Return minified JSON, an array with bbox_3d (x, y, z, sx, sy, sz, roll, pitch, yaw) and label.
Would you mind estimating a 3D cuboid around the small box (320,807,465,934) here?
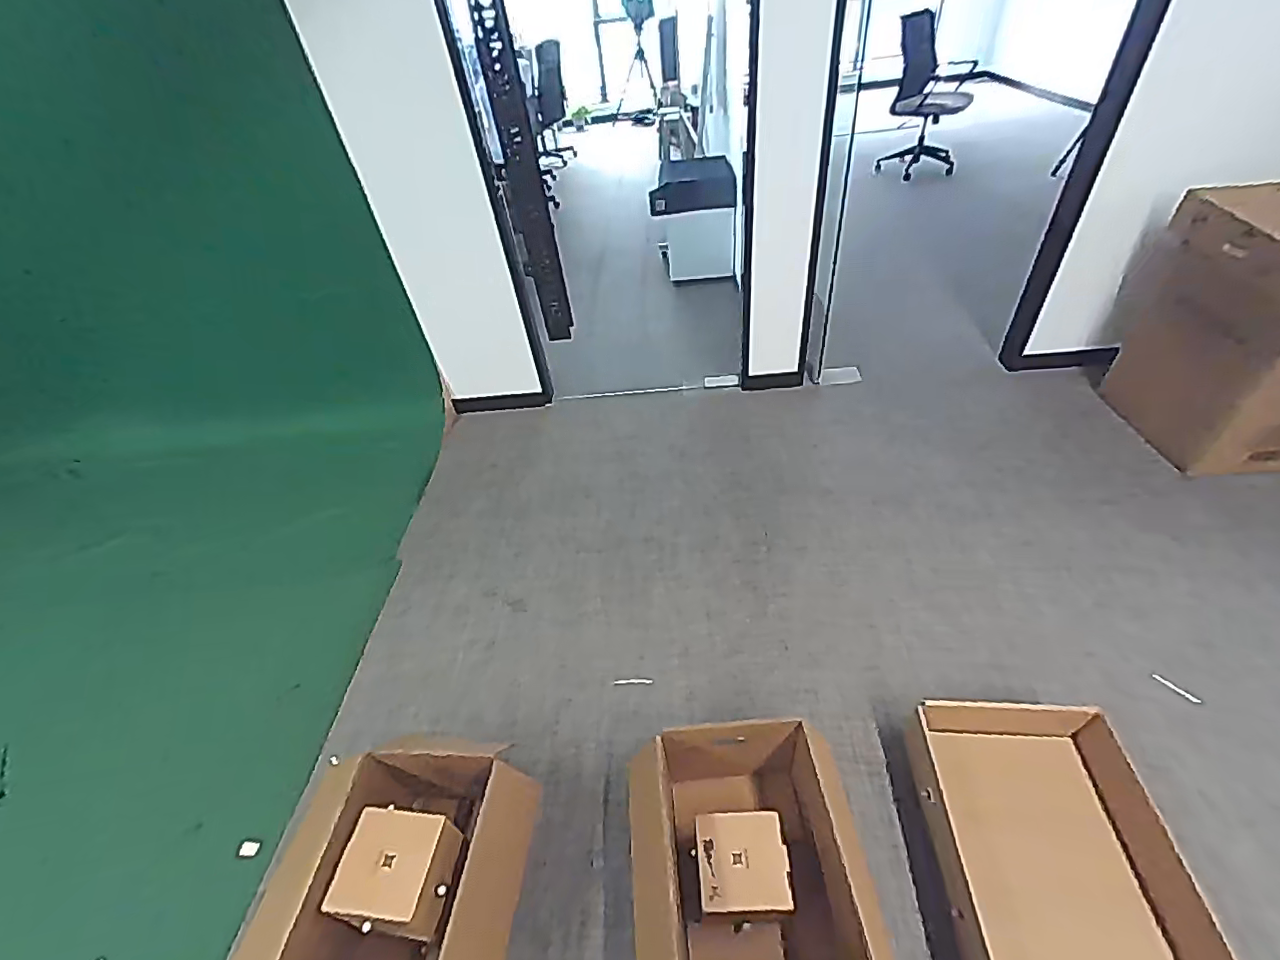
[{"bbox_3d":[-0.467,0.764,1.055,0.179,0.176,0.168,1,43,8],"label":"small box"}]
